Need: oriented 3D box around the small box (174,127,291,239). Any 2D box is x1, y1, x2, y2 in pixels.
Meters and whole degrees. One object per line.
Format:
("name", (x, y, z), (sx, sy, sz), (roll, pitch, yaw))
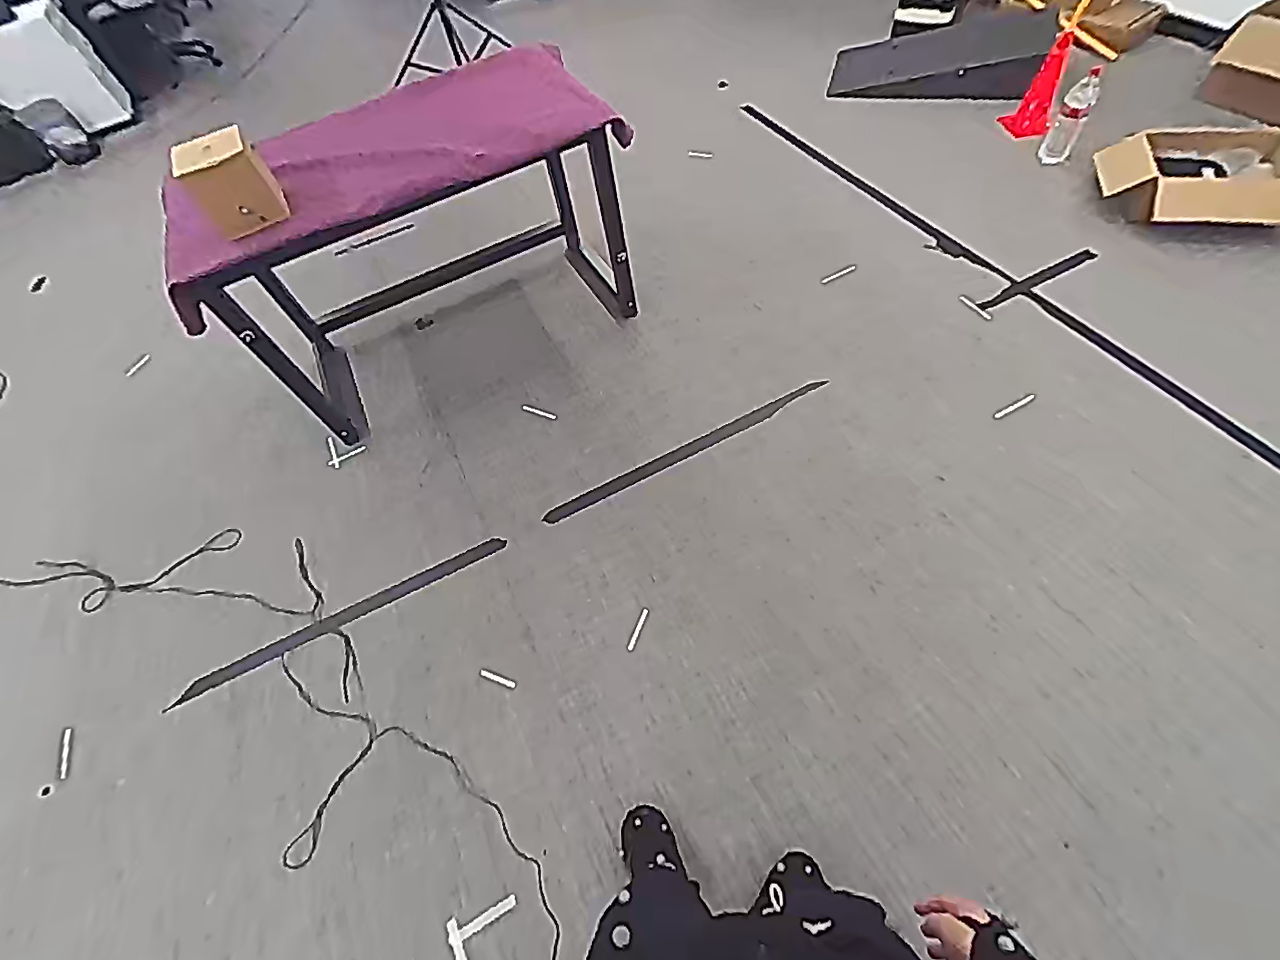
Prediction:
("small box", (-1.025, -0.746, 1.367), (0.168, 0.176, 0.179), (-29, 59, -9))
